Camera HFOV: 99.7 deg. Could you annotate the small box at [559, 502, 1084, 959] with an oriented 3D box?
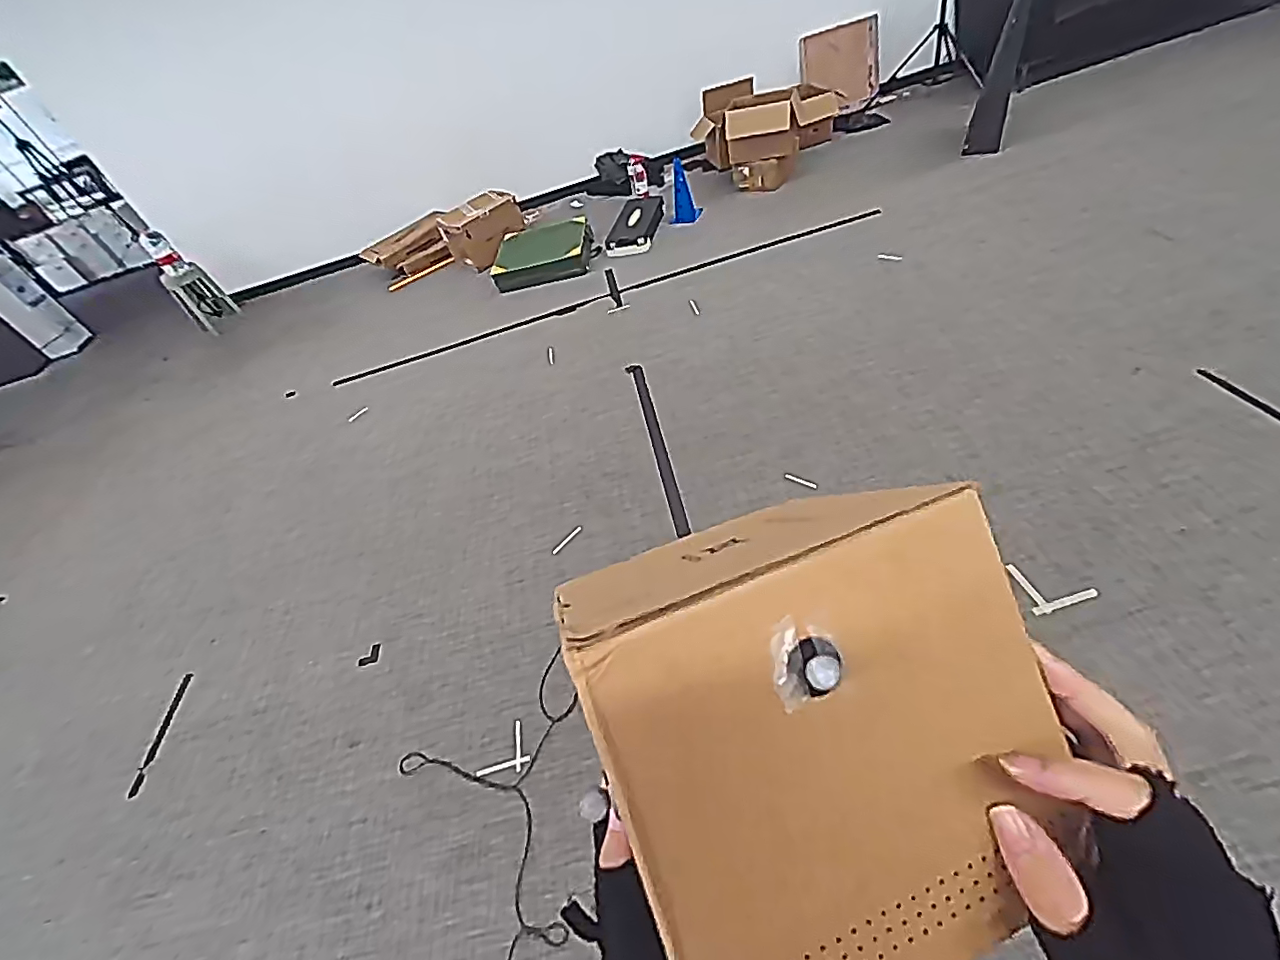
[{"bbox_3d":[0.069,0.121,0.278,0.179,0.168,0.176,-19,89,-10],"label":"small box"}]
